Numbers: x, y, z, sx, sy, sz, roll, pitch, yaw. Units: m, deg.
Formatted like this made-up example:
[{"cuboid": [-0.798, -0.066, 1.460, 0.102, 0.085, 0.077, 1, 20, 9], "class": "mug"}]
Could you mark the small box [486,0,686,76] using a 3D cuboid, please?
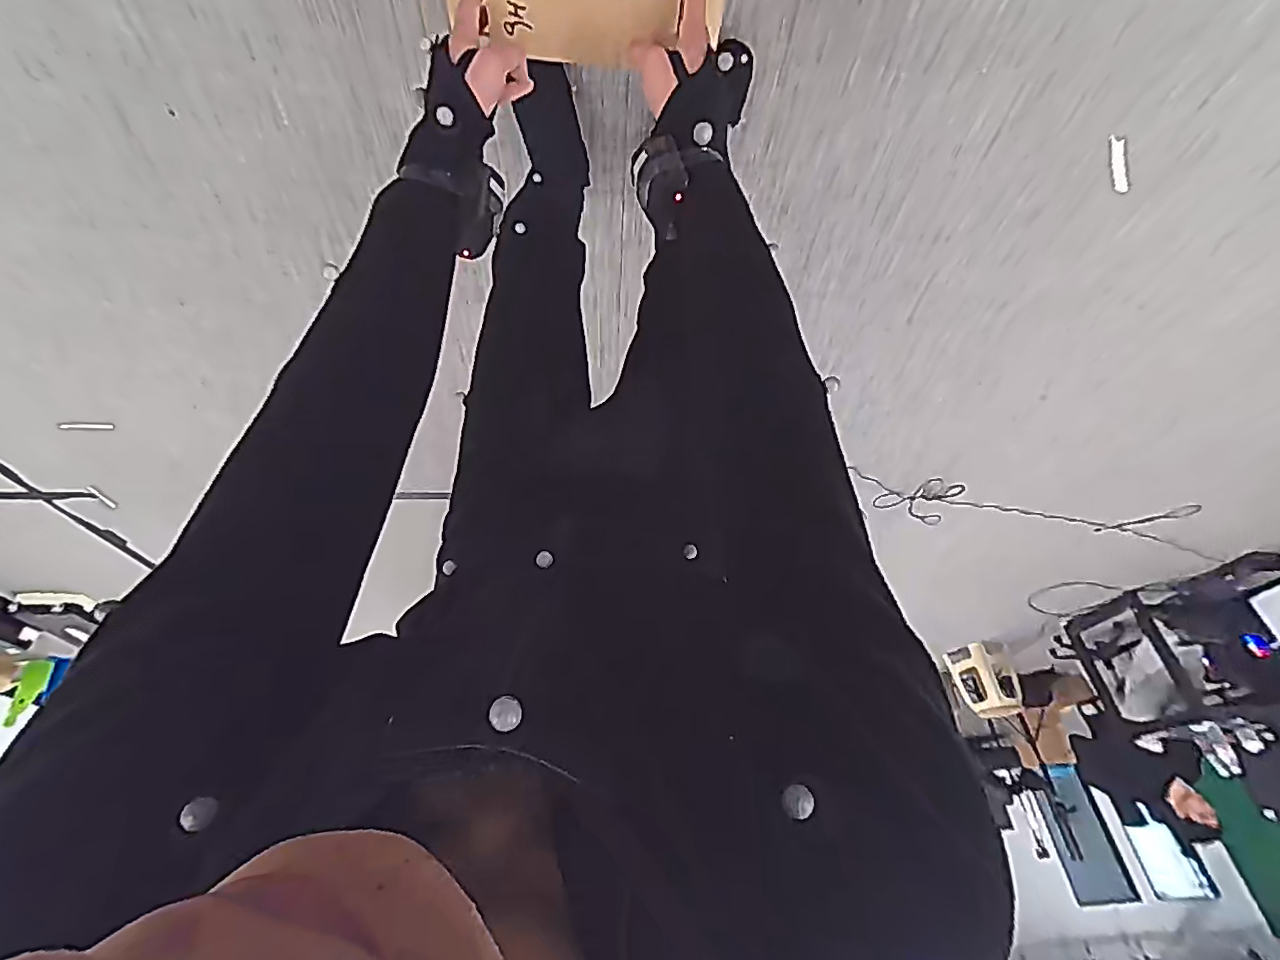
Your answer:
[{"cuboid": [-0.049, -0.501, 0.490, 0.179, 0.176, 0.168, 0, 143, -7], "class": "small box"}]
